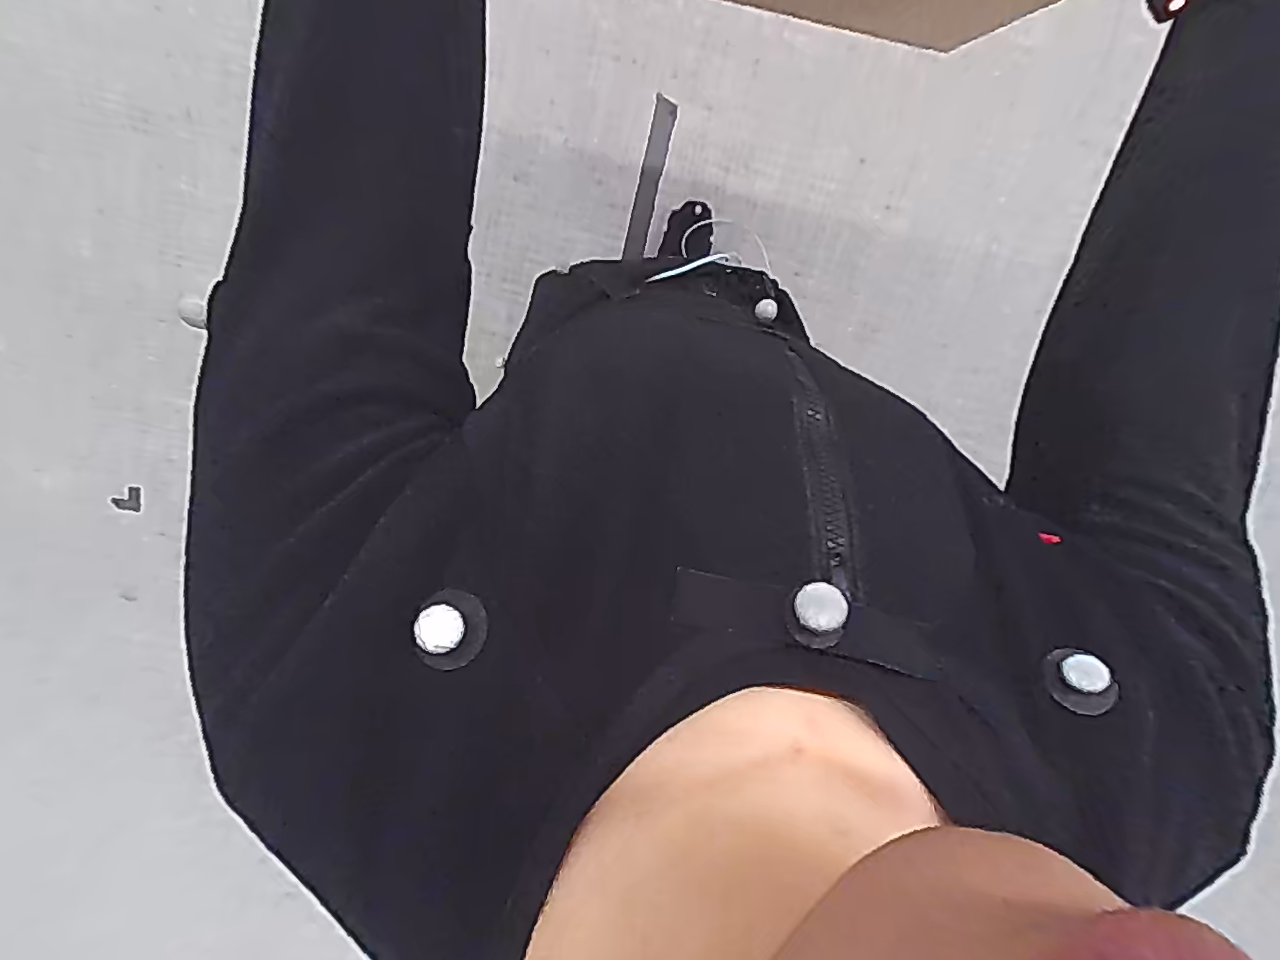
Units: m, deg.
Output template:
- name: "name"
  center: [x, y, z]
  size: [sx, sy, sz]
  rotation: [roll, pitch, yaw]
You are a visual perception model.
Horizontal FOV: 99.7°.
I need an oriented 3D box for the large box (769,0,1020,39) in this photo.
- name: "large box"
  center: [0.161, -0.567, 0.372]
  size: [0.408, 0.320, 0.320]
  rotation: [10, 119, -4]
